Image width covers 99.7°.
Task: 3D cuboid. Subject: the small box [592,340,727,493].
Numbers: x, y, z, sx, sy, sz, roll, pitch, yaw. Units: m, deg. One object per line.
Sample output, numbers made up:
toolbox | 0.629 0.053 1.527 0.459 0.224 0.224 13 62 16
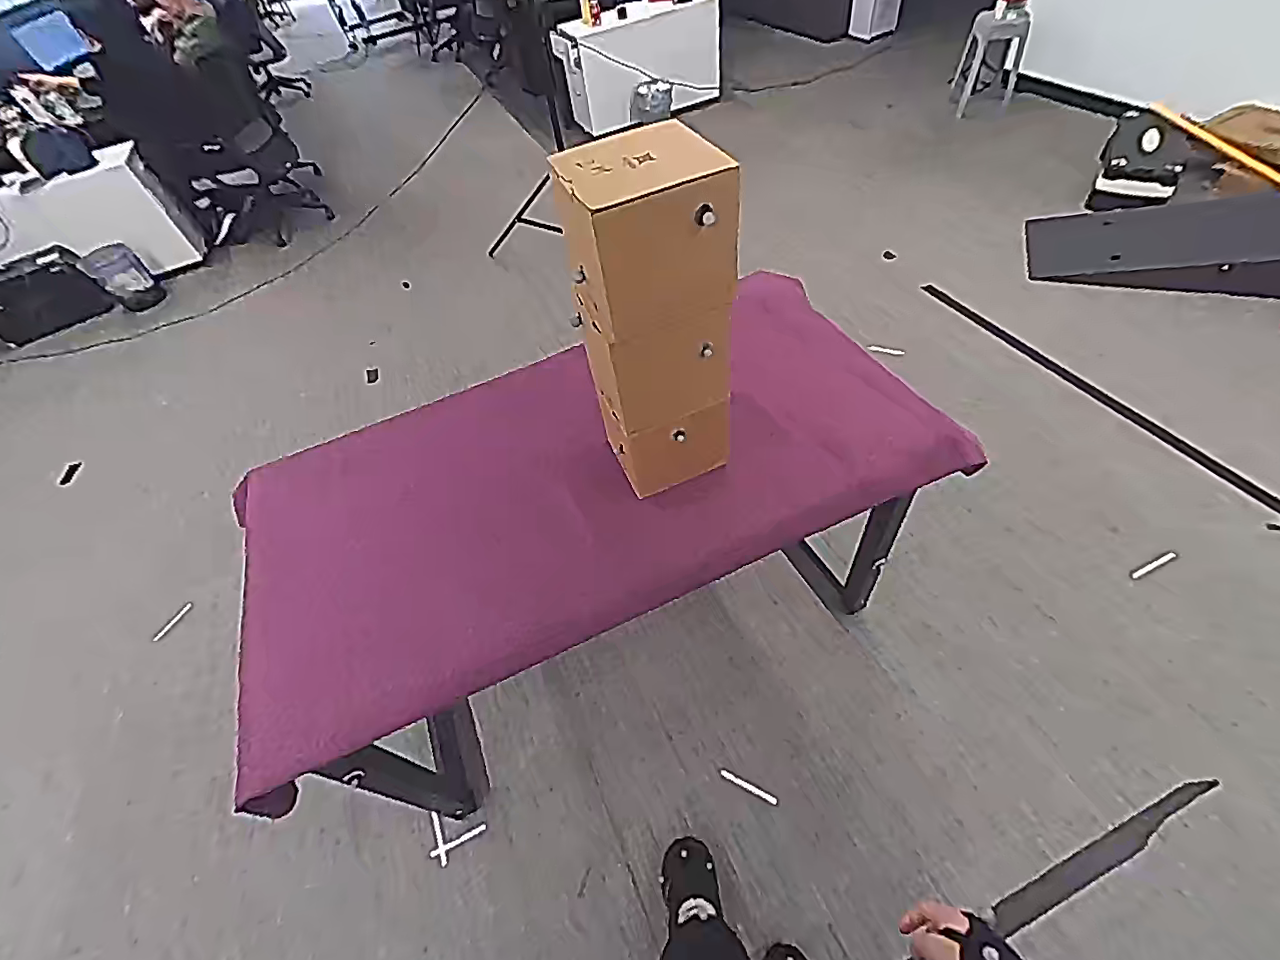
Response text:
small box | 0.038 -0.104 0.929 0.179 0.176 0.168 -22 53 -9

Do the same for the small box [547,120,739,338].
small box | 0.006 -0.308 0.672 0.179 0.176 0.168 -23 52 -8
